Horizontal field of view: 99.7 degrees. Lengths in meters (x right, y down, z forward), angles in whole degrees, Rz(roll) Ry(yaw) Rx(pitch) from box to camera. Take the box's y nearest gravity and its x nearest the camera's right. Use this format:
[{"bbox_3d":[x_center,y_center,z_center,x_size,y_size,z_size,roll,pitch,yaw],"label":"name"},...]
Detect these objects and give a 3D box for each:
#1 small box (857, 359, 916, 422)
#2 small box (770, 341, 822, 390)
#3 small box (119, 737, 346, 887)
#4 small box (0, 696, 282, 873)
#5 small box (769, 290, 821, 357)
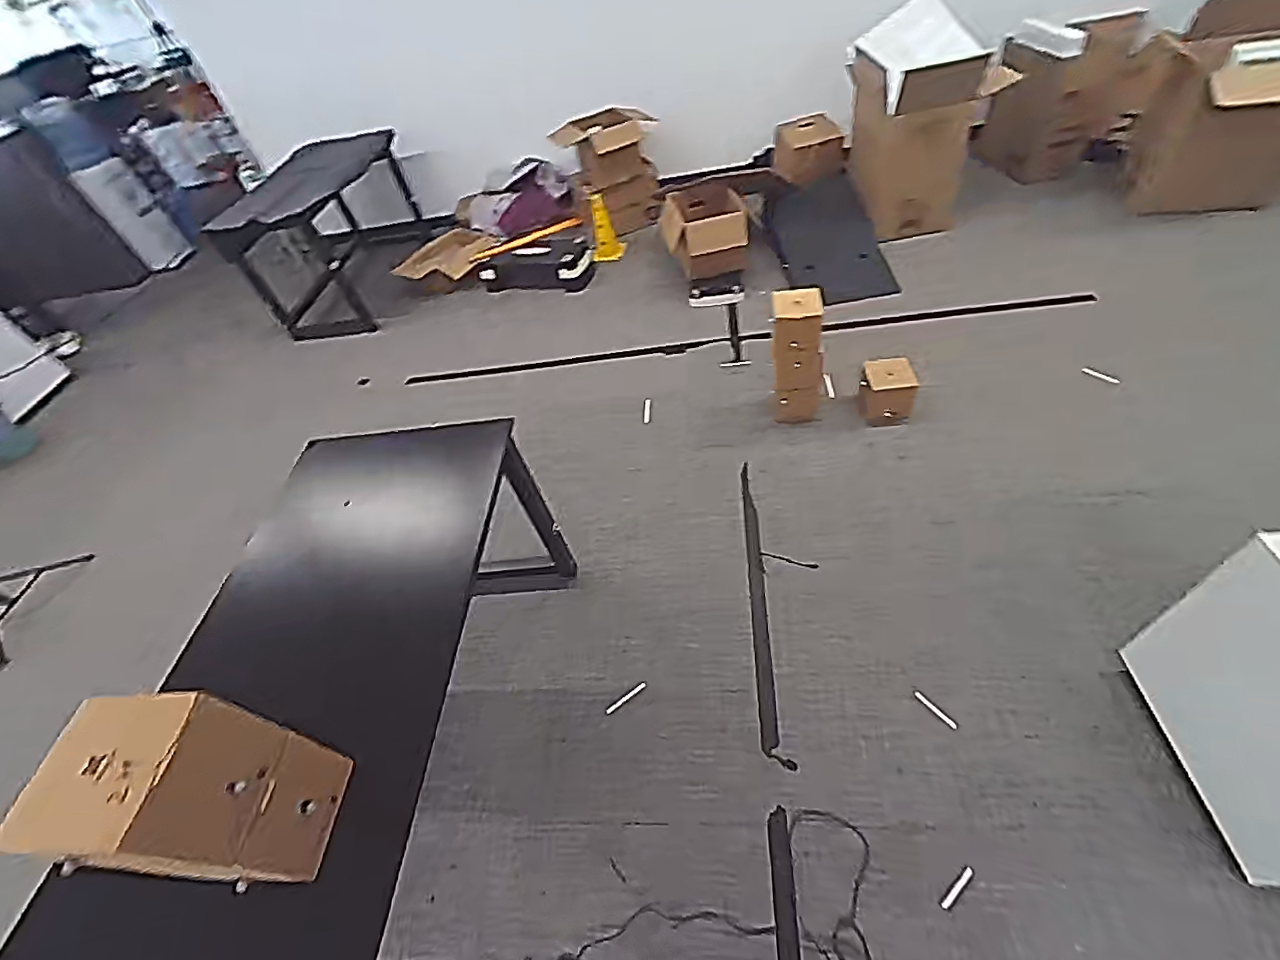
[{"bbox_3d":[0.978,-0.357,2.160,0.168,0.176,0.179,-7,49,9],"label":"small box"},{"bbox_3d":[0.606,-0.467,2.116,0.179,0.176,0.168,-4,49,8],"label":"small box"},{"bbox_3d":[-0.580,0.493,0.802,0.179,0.176,0.168,-6,48,7],"label":"small box"},{"bbox_3d":[-0.611,0.387,0.680,0.179,0.176,0.168,-6,49,8],"label":"small box"},{"bbox_3d":[0.569,-0.576,2.001,0.168,0.176,0.179,-3,50,10],"label":"small box"}]
